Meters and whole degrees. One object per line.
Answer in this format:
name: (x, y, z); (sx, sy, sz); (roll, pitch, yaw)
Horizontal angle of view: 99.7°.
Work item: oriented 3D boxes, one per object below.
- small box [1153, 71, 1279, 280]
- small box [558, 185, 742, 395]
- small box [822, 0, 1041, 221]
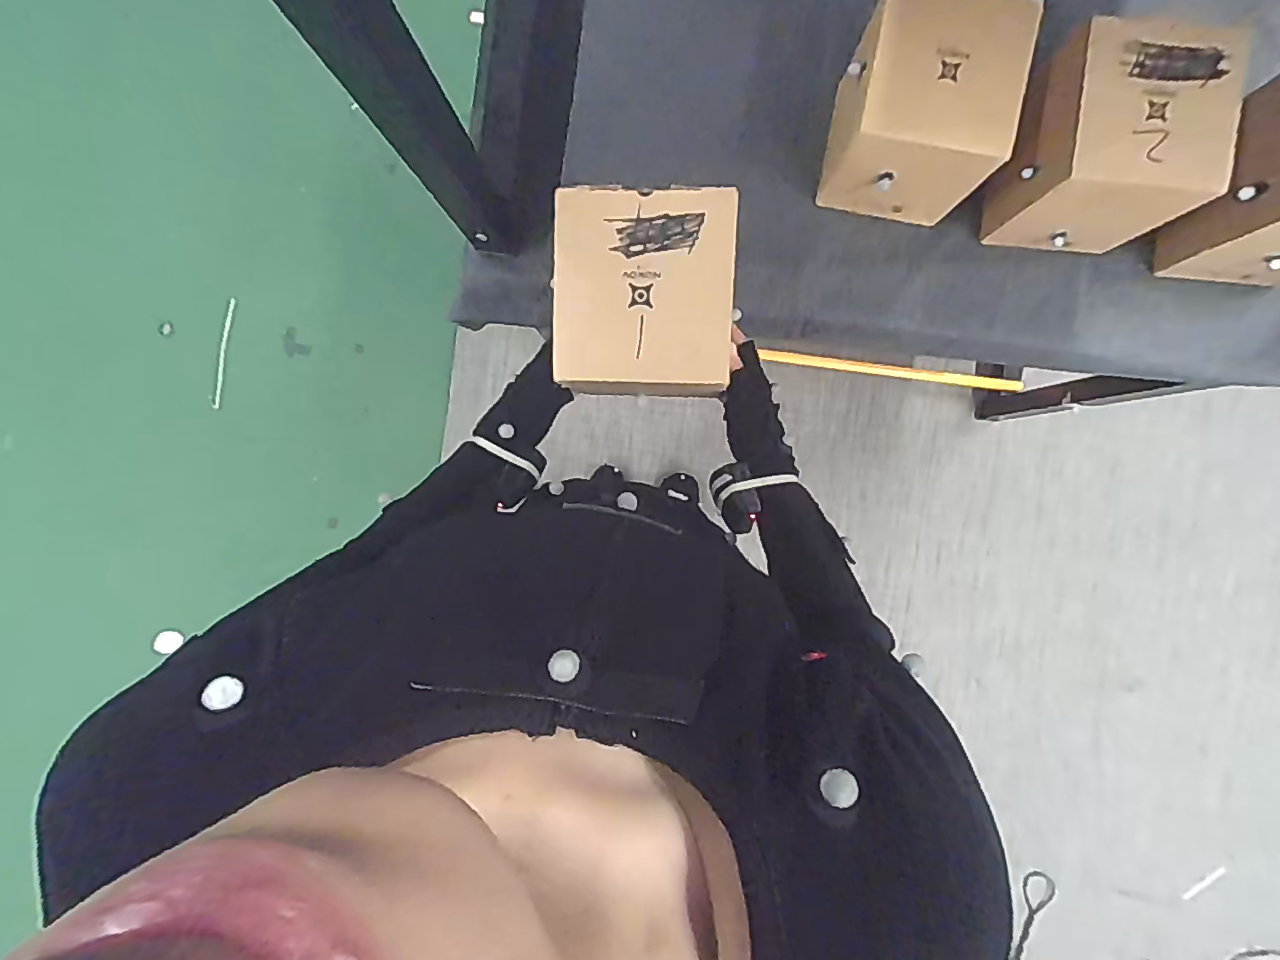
small box: (0.777, -0.357, 0.649); (0.168, 0.176, 0.179); (6, 90, 1)
small box: (0.012, -0.186, 0.574); (0.168, 0.176, 0.179); (2, 96, 4)
small box: (0.339, -0.449, 0.666); (0.168, 0.176, 0.179); (11, 91, 2)
